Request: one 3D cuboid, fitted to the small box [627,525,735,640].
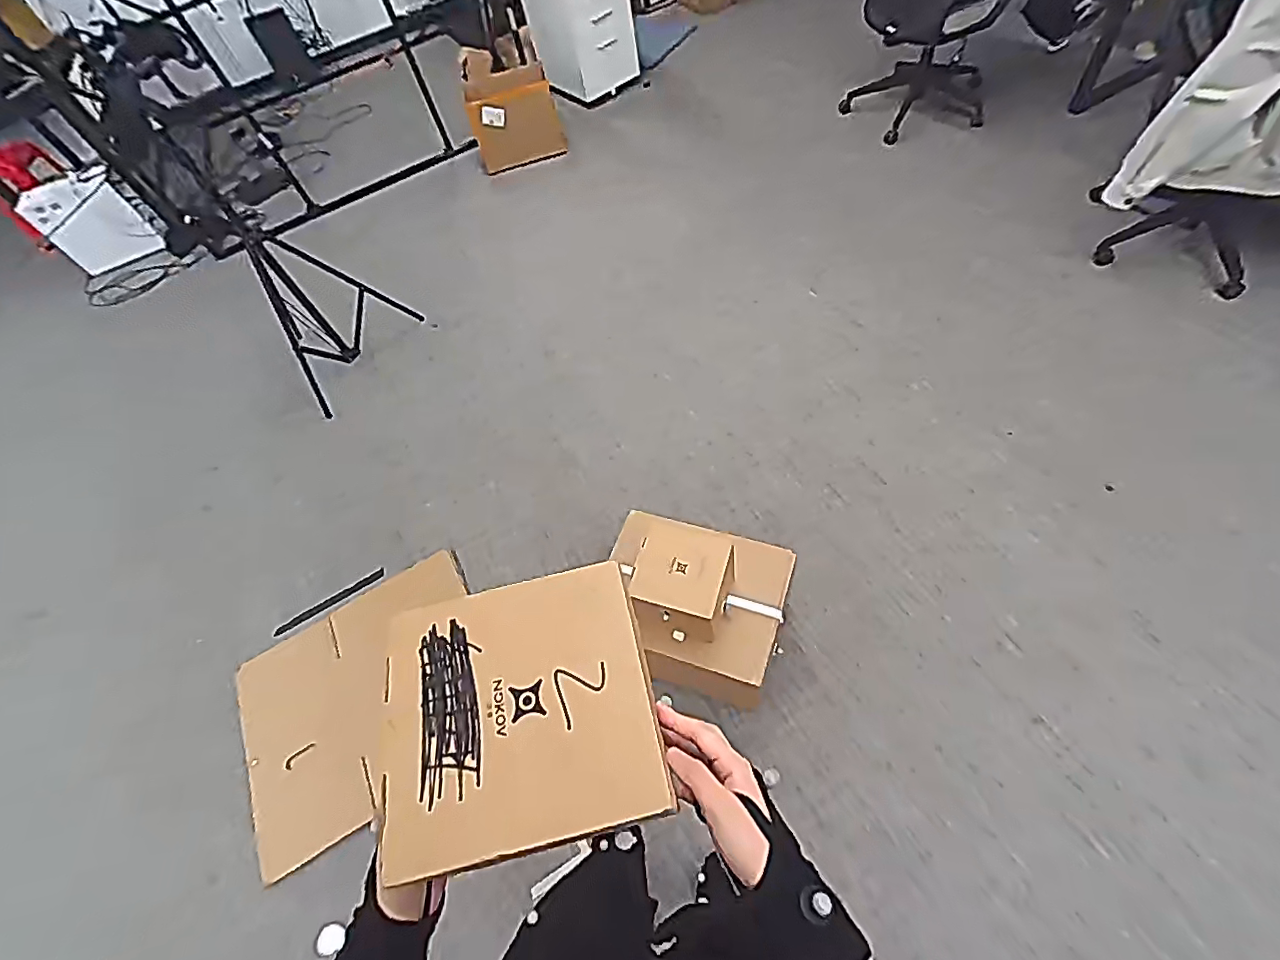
[{"bbox_3d":[0.093,0.216,1.118,0.179,0.176,0.168,12,62,17],"label":"small box"}]
